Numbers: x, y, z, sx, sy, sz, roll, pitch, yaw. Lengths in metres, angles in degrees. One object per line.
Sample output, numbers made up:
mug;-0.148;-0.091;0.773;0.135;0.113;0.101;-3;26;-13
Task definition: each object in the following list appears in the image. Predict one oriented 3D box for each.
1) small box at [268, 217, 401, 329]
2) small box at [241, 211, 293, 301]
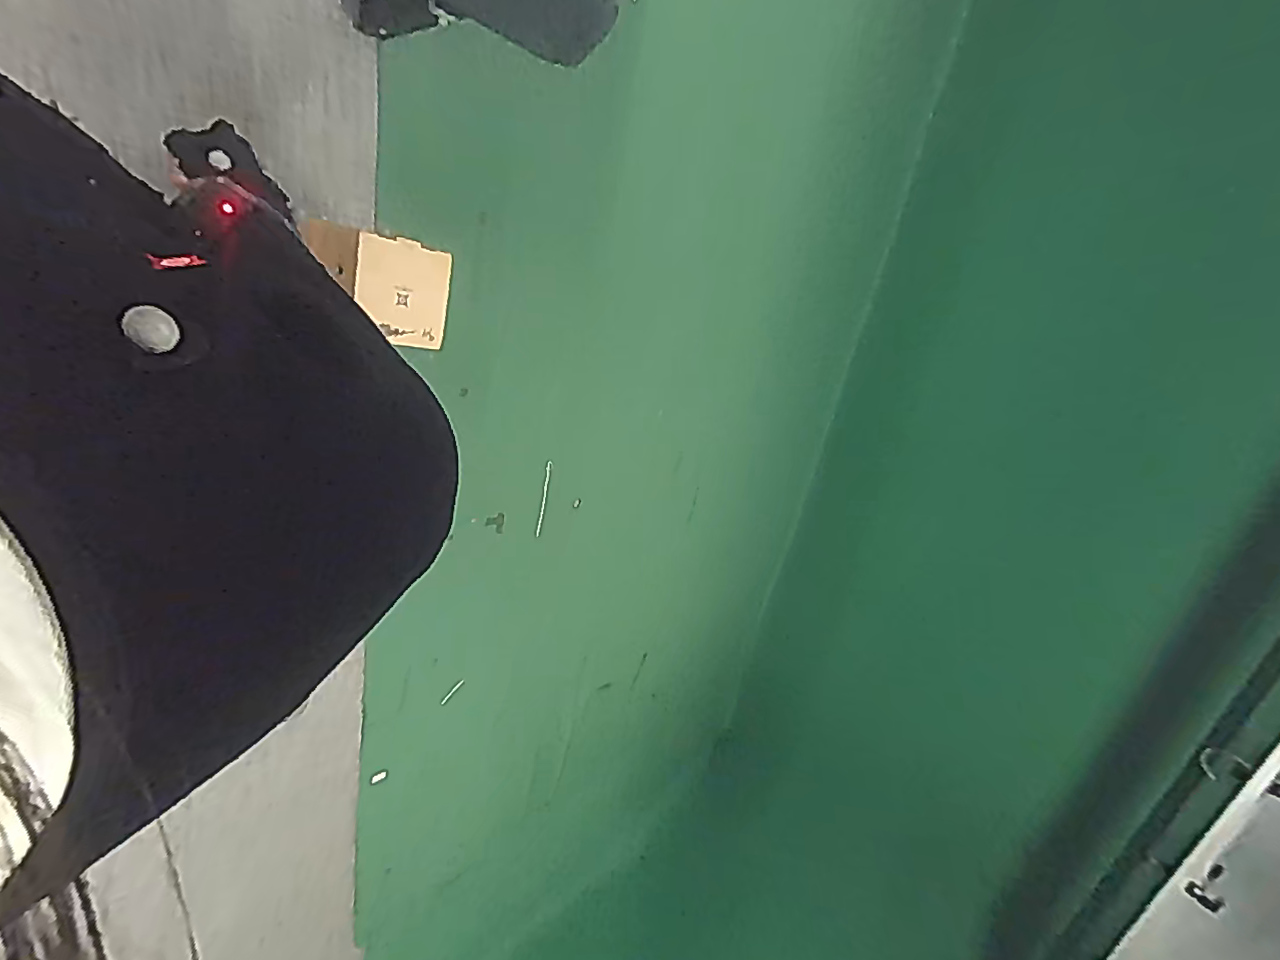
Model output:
small box;-0.603;-0.408;1.068;0.179;0.176;0.168;-6;115;-49
small box;-0.726;-0.467;1.160;0.179;0.176;0.168;-6;115;-48
